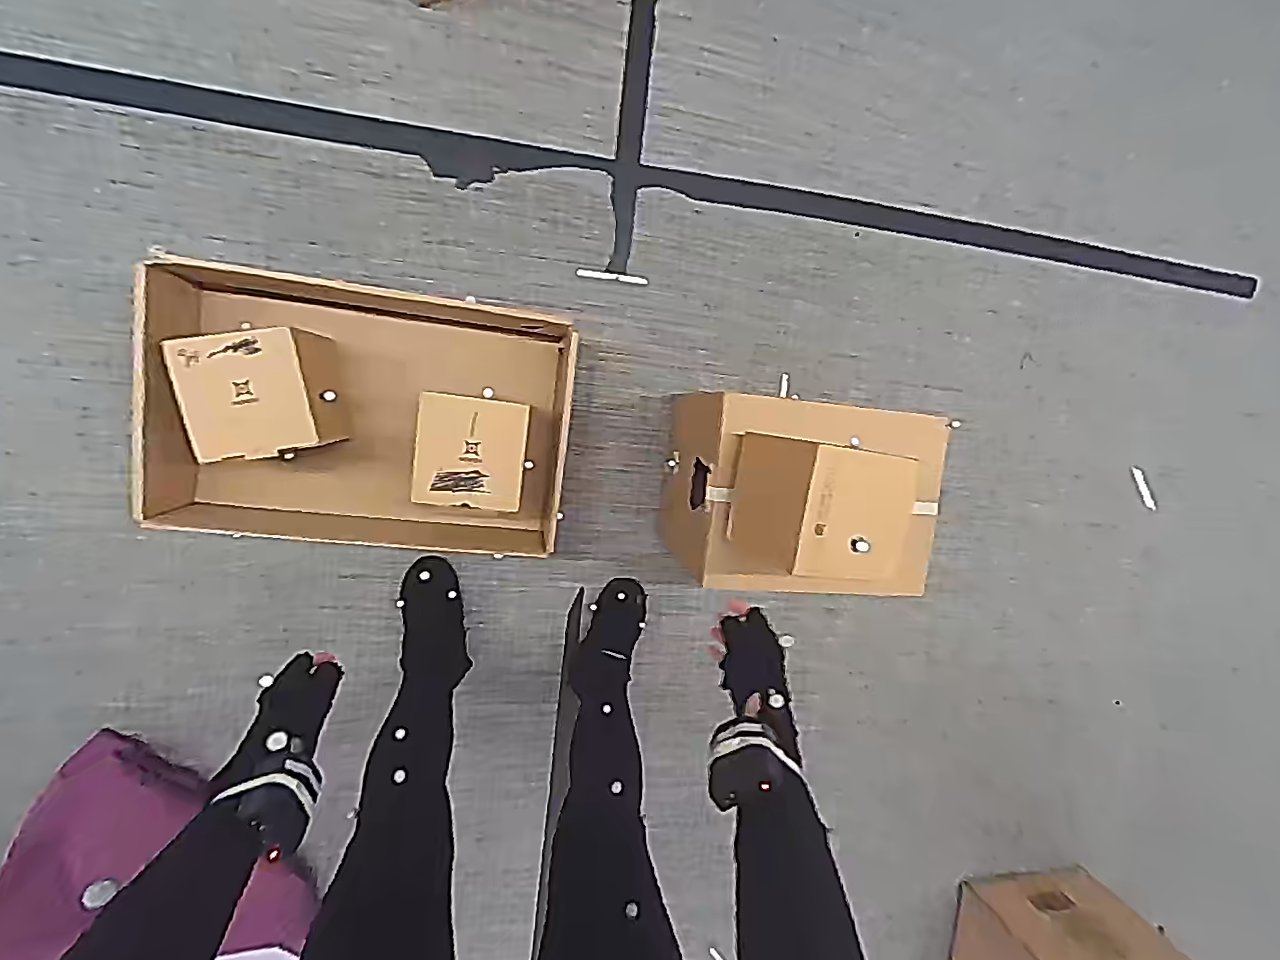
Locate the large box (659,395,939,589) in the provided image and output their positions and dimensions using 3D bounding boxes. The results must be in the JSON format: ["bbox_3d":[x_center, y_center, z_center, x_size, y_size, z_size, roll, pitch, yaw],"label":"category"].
[{"bbox_3d":[0.269,0.011,1.028,0.408,0.320,0.320,3,98,-13],"label":"large box"}]
